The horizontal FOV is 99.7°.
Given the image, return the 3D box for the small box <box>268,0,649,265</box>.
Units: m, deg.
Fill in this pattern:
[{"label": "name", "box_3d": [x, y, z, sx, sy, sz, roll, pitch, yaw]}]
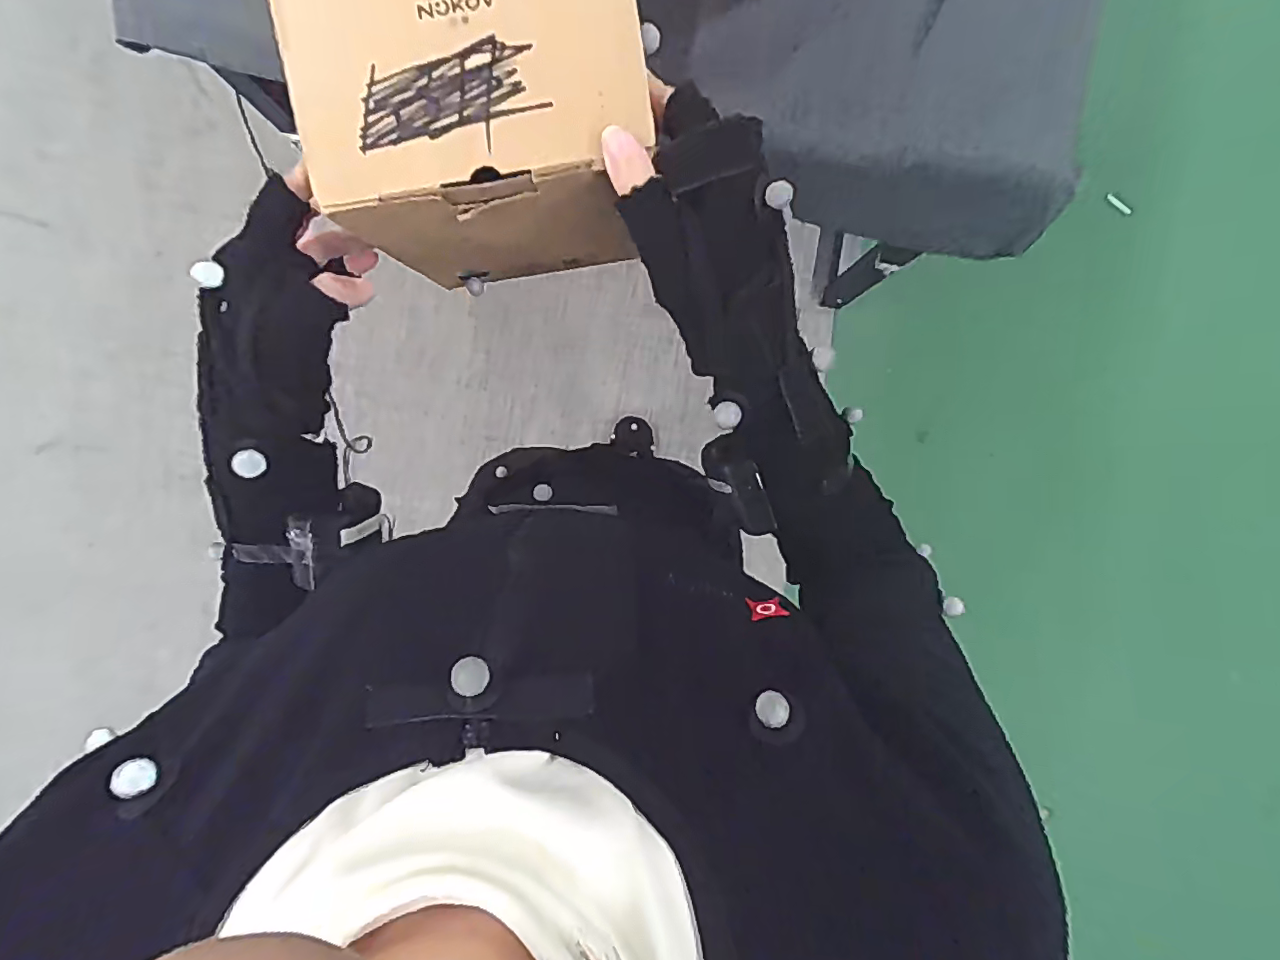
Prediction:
[{"label": "small box", "box_3d": [-0.087, -0.242, 0.323, 0.168, 0.176, 0.179, -9, 96, 2]}]
